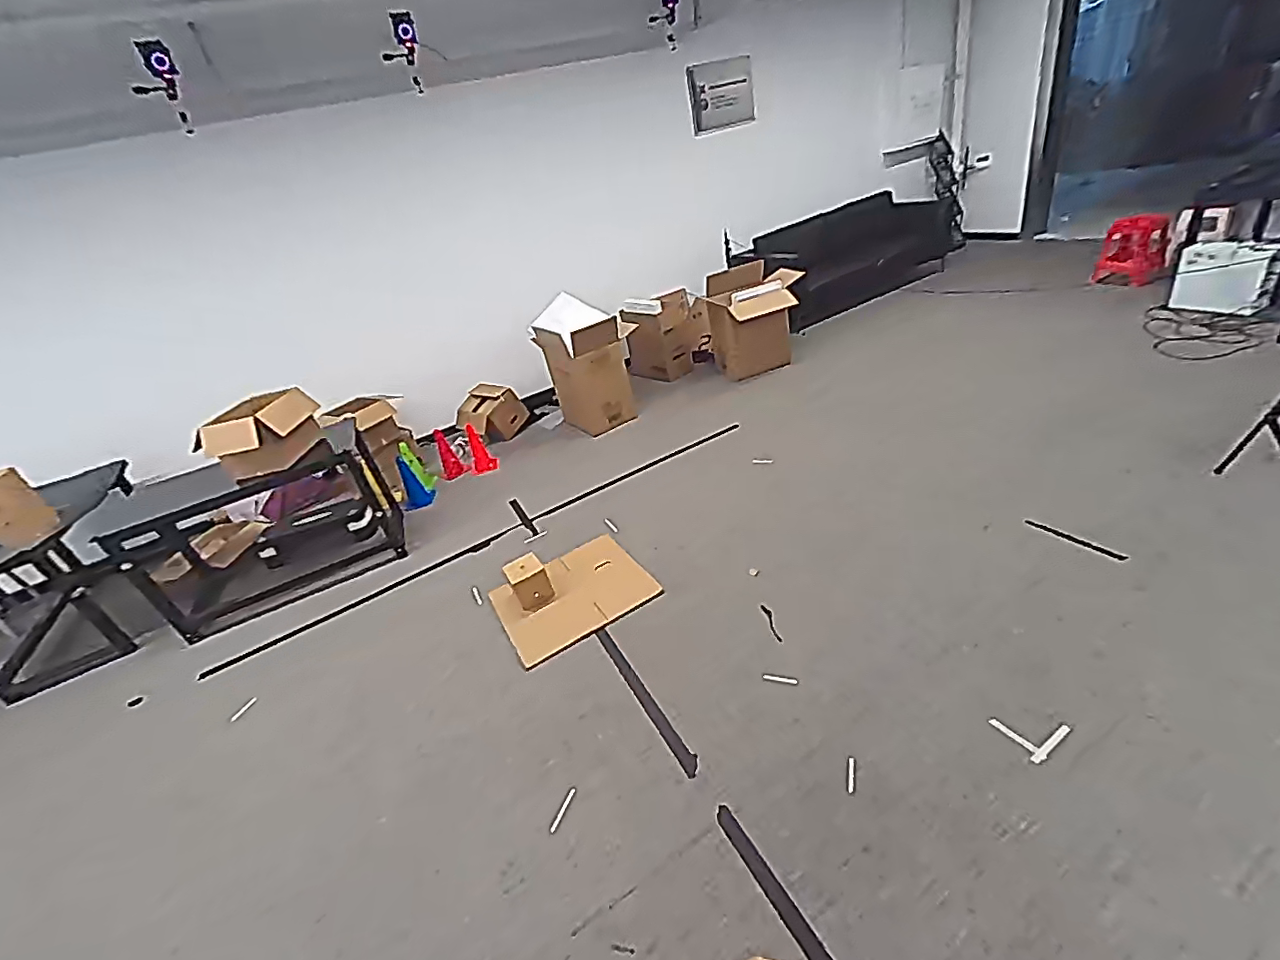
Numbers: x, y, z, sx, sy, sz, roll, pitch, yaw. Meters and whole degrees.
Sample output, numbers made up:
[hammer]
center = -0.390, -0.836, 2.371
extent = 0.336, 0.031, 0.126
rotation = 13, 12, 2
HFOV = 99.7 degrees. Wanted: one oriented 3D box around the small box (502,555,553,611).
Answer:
[small box]
center = -0.542, 0.499, 2.607
extent = 0.168, 0.176, 0.179
rotation = -27, 32, -20
